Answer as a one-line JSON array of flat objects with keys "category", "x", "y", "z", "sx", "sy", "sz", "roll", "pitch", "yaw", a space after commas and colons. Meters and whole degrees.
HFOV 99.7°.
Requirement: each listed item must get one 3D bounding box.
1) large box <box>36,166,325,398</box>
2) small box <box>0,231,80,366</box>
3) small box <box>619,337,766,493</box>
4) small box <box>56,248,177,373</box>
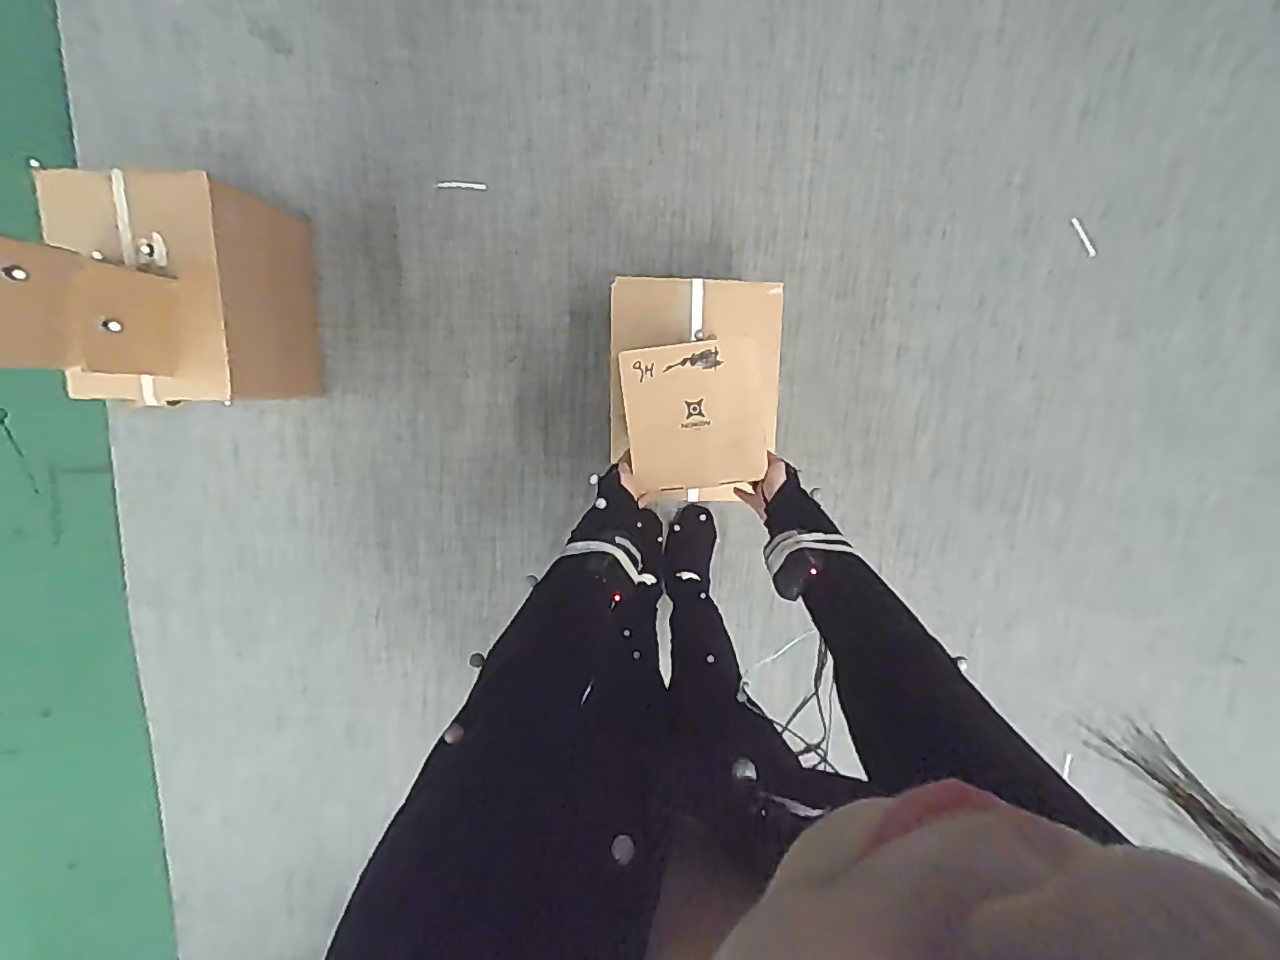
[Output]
[{"category": "large box", "x": -0.908, "y": -0.376, "z": 1.125, "sx": 0.320, "sy": 0.320, "sz": 0.408, "roll": 1, "pitch": 100, "yaw": 0}, {"category": "small box", "x": -0.927, "y": -0.262, "z": 0.734, "sx": 0.168, "sy": 0.176, "sz": 0.179, "roll": 16, "pitch": 101, "yaw": -1}, {"category": "small box", "x": 0.067, "y": -0.091, "z": 0.722, "sx": 0.168, "sy": 0.176, "sz": 0.179, "roll": -6, "pitch": 101, "yaw": 2}, {"category": "small box", "x": -0.919, "y": -0.282, "z": 0.896, "sx": 0.168, "sy": 0.176, "sz": 0.179, "roll": 12, "pitch": 101, "yaw": -1}]
